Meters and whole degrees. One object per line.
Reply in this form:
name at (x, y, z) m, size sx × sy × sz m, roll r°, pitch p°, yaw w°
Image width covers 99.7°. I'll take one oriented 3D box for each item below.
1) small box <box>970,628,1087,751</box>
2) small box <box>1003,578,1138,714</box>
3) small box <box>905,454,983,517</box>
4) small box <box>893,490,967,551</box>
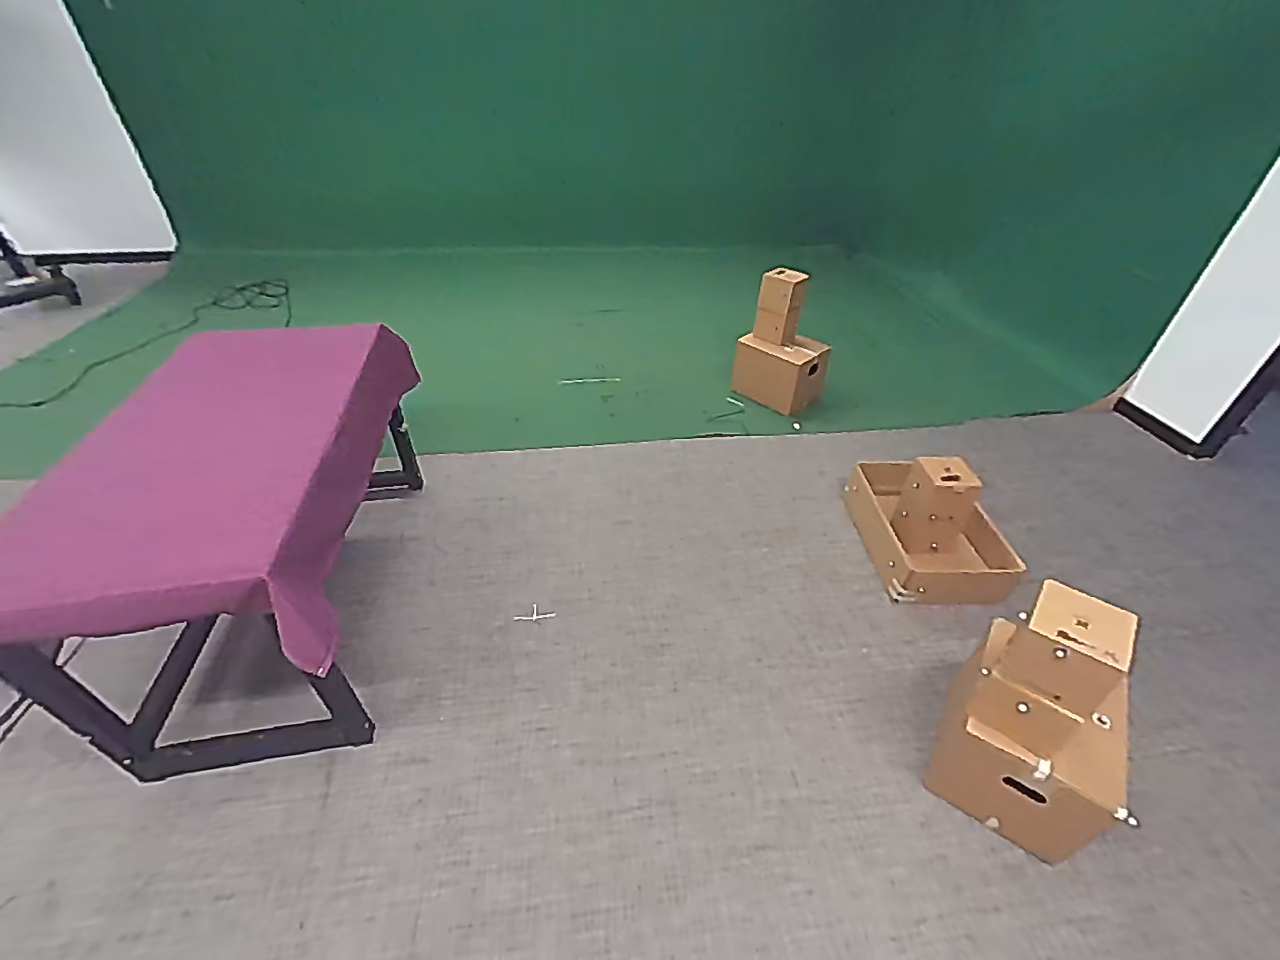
small box at (0.898, 0.484, 1.237) m, size 0.168 × 0.176 × 0.179 m, roll -32°, pitch 46°, yaw -33°
small box at (0.904, 0.348, 1.144) m, size 0.168 × 0.176 × 0.179 m, roll 27°, pitch 45°, yaw 33°
small box at (1.096, 0.022, 1.961) m, size 0.168 × 0.176 × 0.179 m, roll 0°, pitch 38°, yaw -1°
small box at (1.096, 0.151, 2.063) m, size 0.168 × 0.176 × 0.179 m, roll -1°, pitch 39°, yaw -1°
